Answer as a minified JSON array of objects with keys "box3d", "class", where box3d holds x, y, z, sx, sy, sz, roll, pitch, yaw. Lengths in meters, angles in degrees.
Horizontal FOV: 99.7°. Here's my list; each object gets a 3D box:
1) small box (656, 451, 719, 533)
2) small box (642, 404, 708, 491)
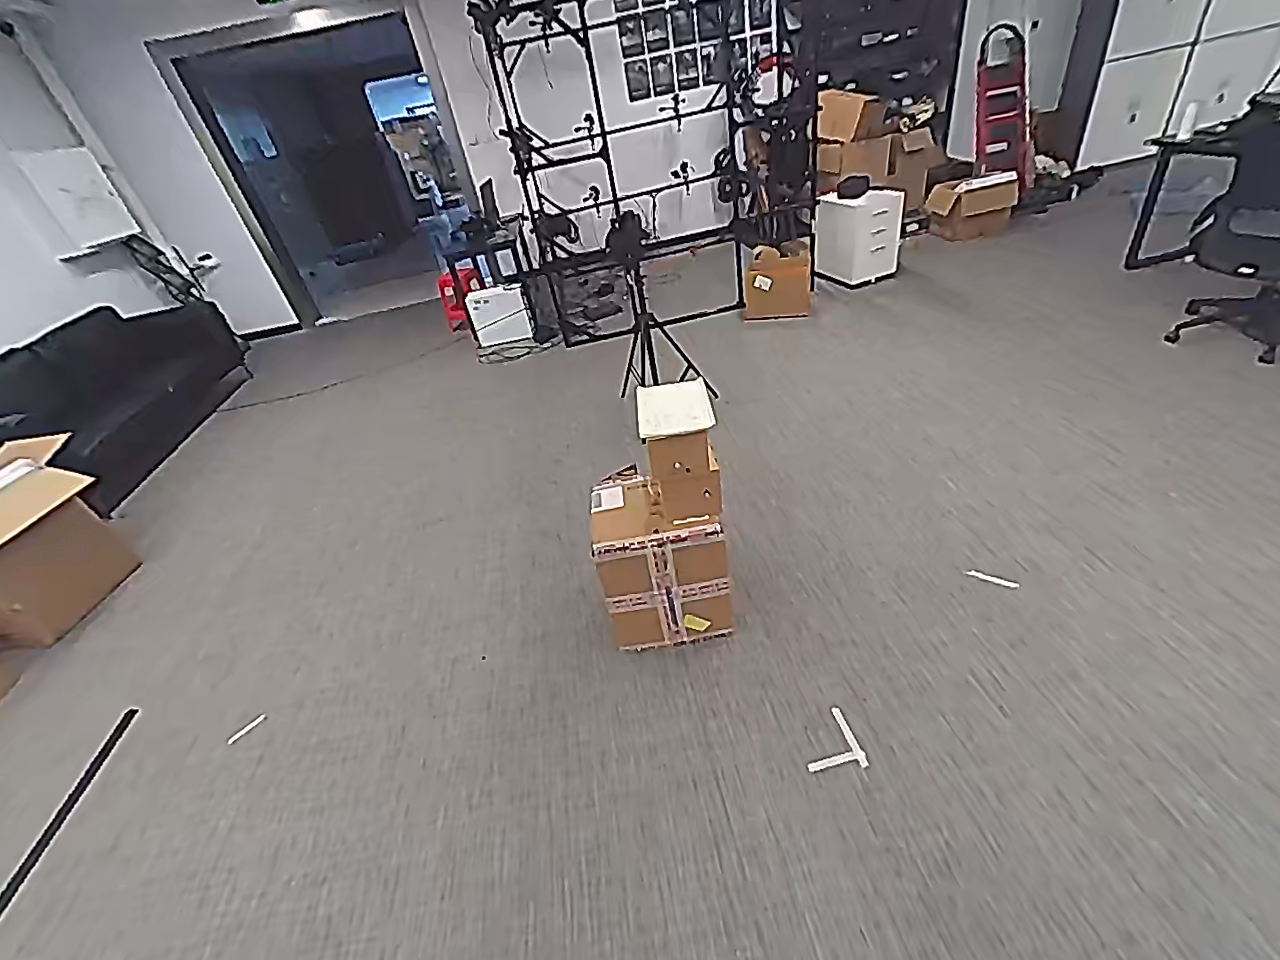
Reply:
[{"box3d":[0.137,0.035,1.614,0.179,0.176,0.168,-10,37,0],"class":"small box"},{"box3d":[0.097,-0.091,1.514,0.168,0.176,0.179,-7,38,3],"class":"small box"}]
